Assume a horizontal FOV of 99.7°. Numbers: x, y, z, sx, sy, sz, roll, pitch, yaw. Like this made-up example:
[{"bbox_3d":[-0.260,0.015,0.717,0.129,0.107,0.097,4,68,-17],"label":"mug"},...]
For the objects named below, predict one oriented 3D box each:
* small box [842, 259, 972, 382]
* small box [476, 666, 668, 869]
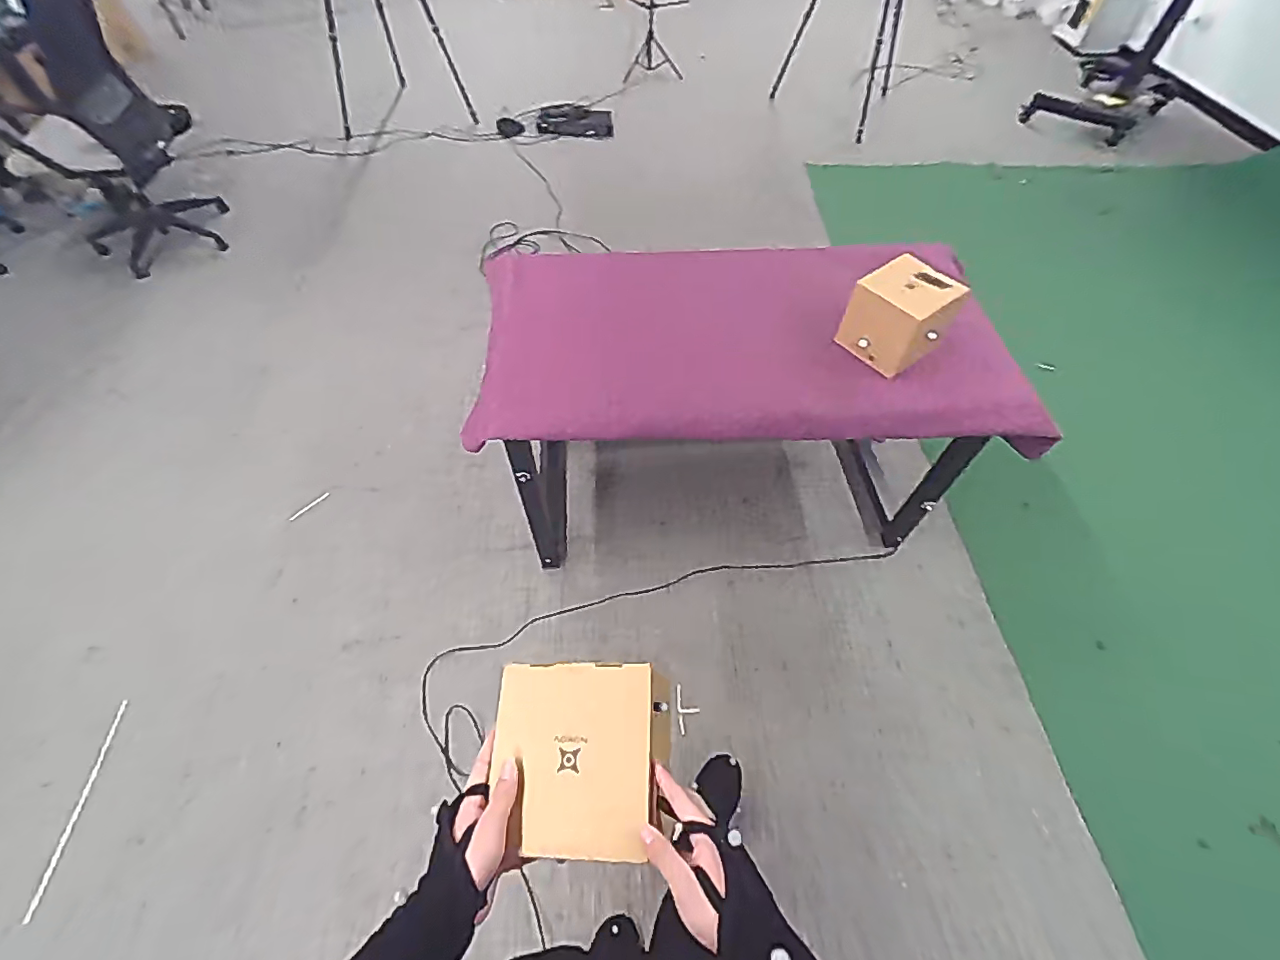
[{"bbox_3d":[0.586,-0.356,1.214,0.179,0.176,0.168,-32,61,-20],"label":"small box"},{"bbox_3d":[-0.060,0.310,0.604,0.168,0.176,0.179,-3,62,9],"label":"small box"}]
